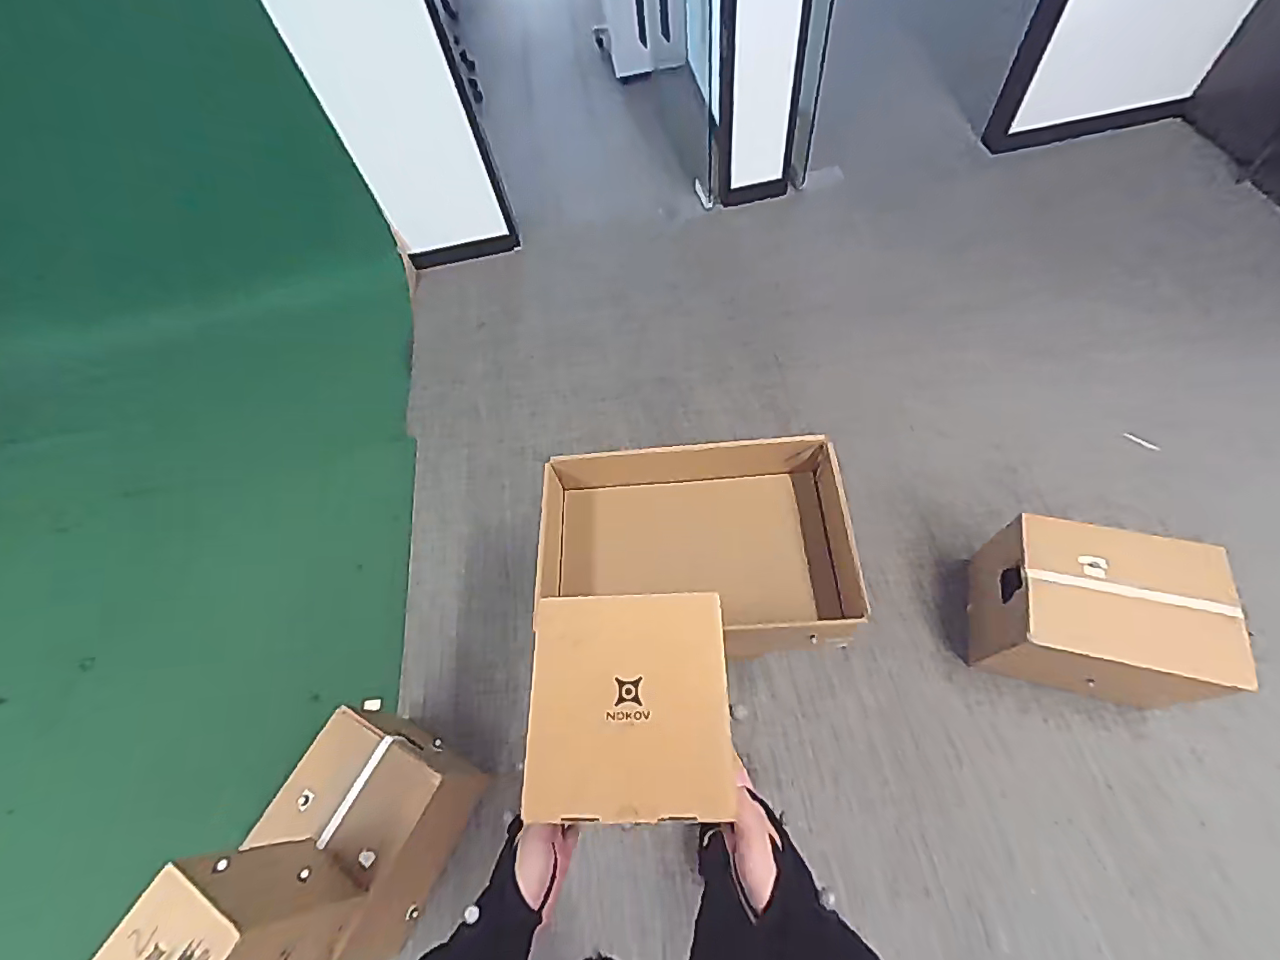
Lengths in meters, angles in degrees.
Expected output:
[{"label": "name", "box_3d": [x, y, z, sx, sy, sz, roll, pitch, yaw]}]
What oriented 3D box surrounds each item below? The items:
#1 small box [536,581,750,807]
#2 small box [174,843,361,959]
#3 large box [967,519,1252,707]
[{"label": "small box", "box_3d": [0.006, 0.207, 0.516, 0.168, 0.176, 0.179, -3, 62, 3]}, {"label": "small box", "box_3d": [-0.642, 0.775, 0.955, 0.179, 0.176, 0.168, 25, 66, 19]}, {"label": "large box", "box_3d": [1.057, 0.323, 1.287, 0.408, 0.320, 0.320, 10, 62, 13]}]
